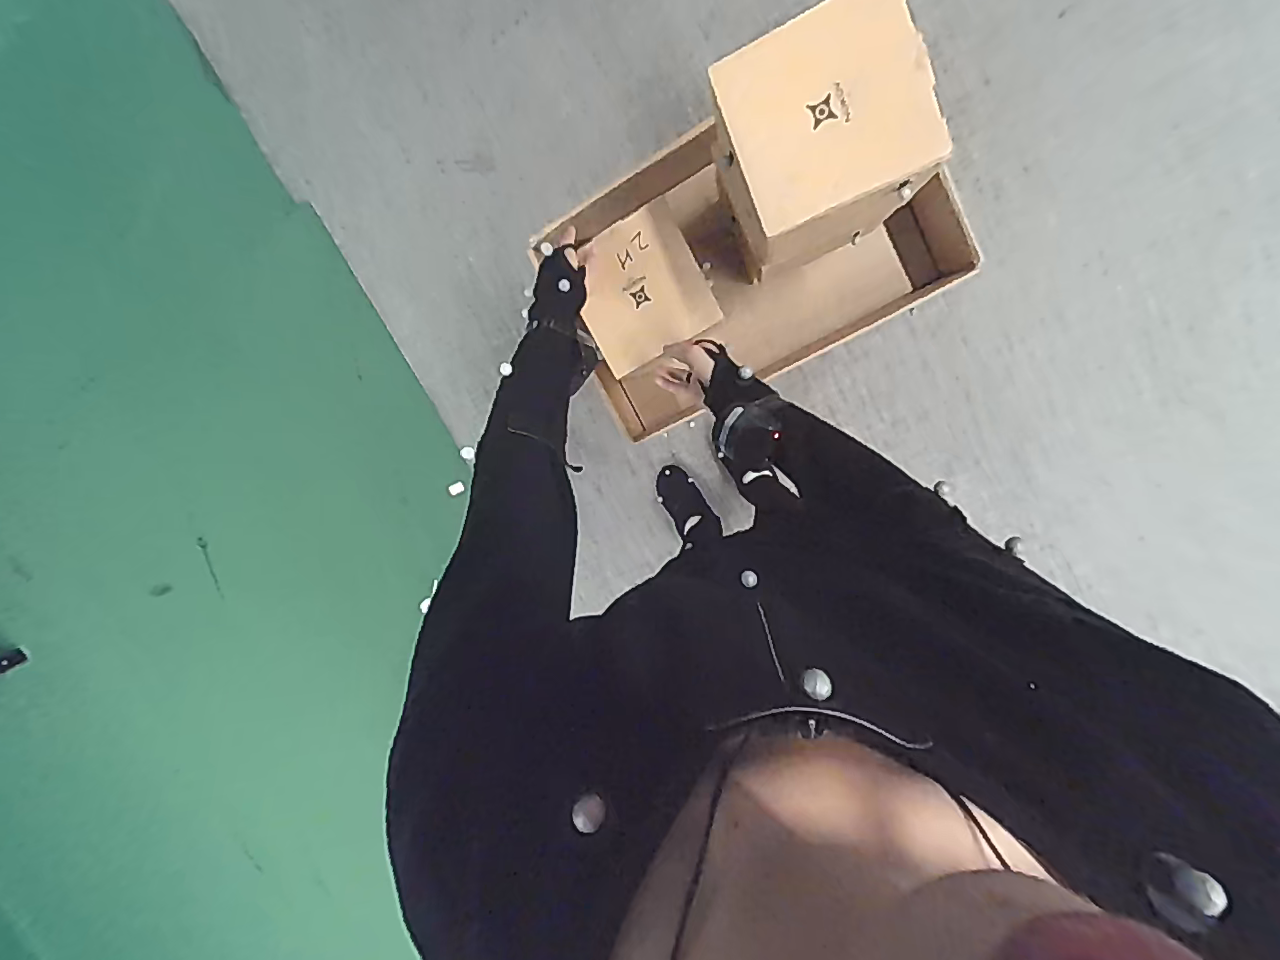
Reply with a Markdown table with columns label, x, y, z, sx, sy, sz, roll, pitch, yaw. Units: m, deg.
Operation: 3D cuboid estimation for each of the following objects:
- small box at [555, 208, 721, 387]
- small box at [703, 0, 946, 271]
| label | x | y | z | sx | sy | sz | roll | pitch | yaw |
| --- | --- | --- | --- | --- | --- | --- | --- | --- | --- |
| small box | 0.010 | -0.253 | 0.784 | 0.168 | 0.176 | 0.179 | -26 | 96 | 14 |
| small box | 0.182 | -0.341 | 0.568 | 0.179 | 0.176 | 0.168 | -20 | 97 | 15 |
